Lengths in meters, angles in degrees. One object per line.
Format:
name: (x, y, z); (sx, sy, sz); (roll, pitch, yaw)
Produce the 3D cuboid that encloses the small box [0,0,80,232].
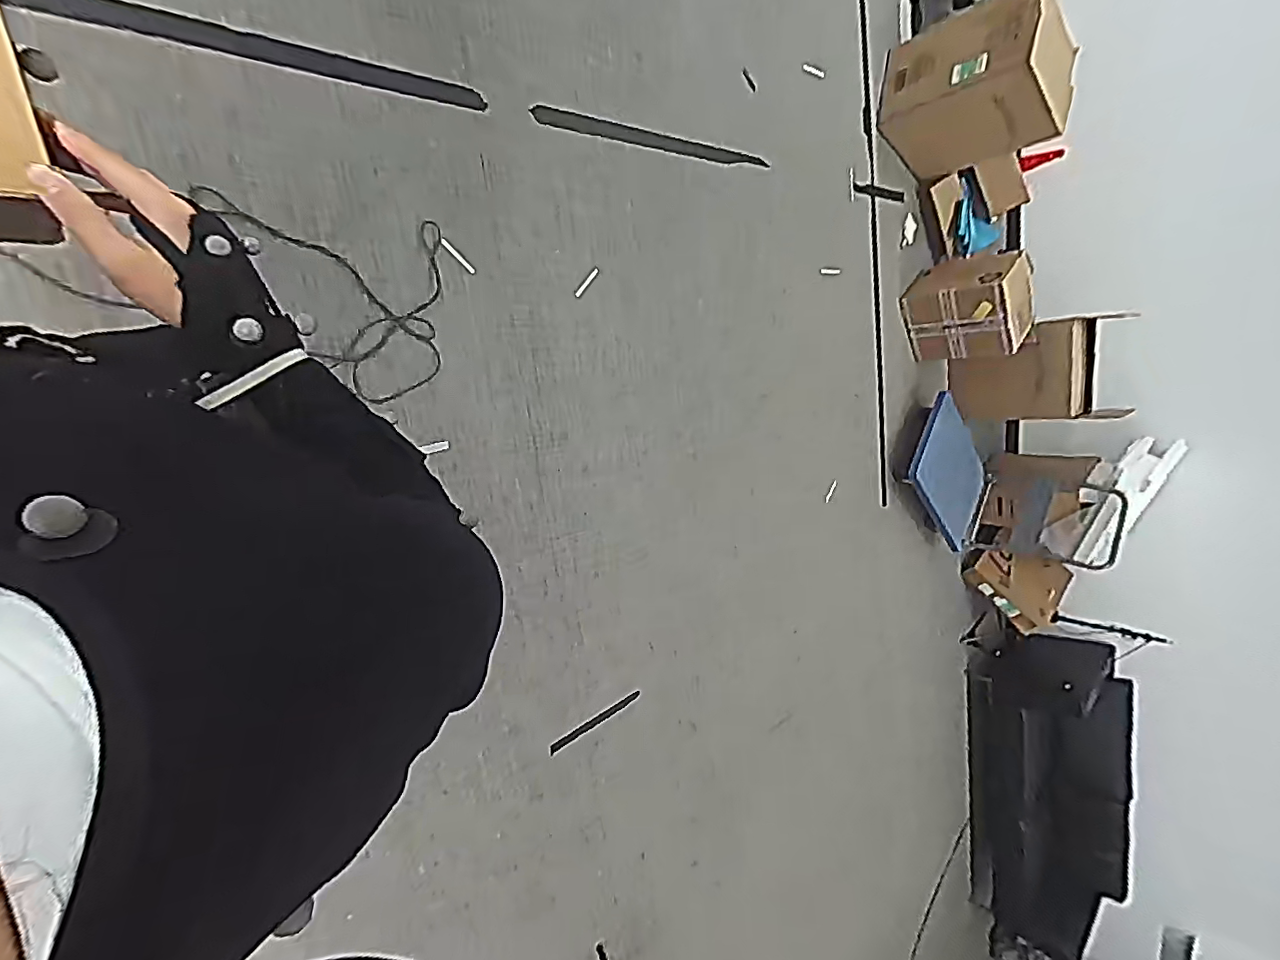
small box: (-0.430, -0.238, 0.273); (0.168, 0.176, 0.179); (-20, 114, -44)
